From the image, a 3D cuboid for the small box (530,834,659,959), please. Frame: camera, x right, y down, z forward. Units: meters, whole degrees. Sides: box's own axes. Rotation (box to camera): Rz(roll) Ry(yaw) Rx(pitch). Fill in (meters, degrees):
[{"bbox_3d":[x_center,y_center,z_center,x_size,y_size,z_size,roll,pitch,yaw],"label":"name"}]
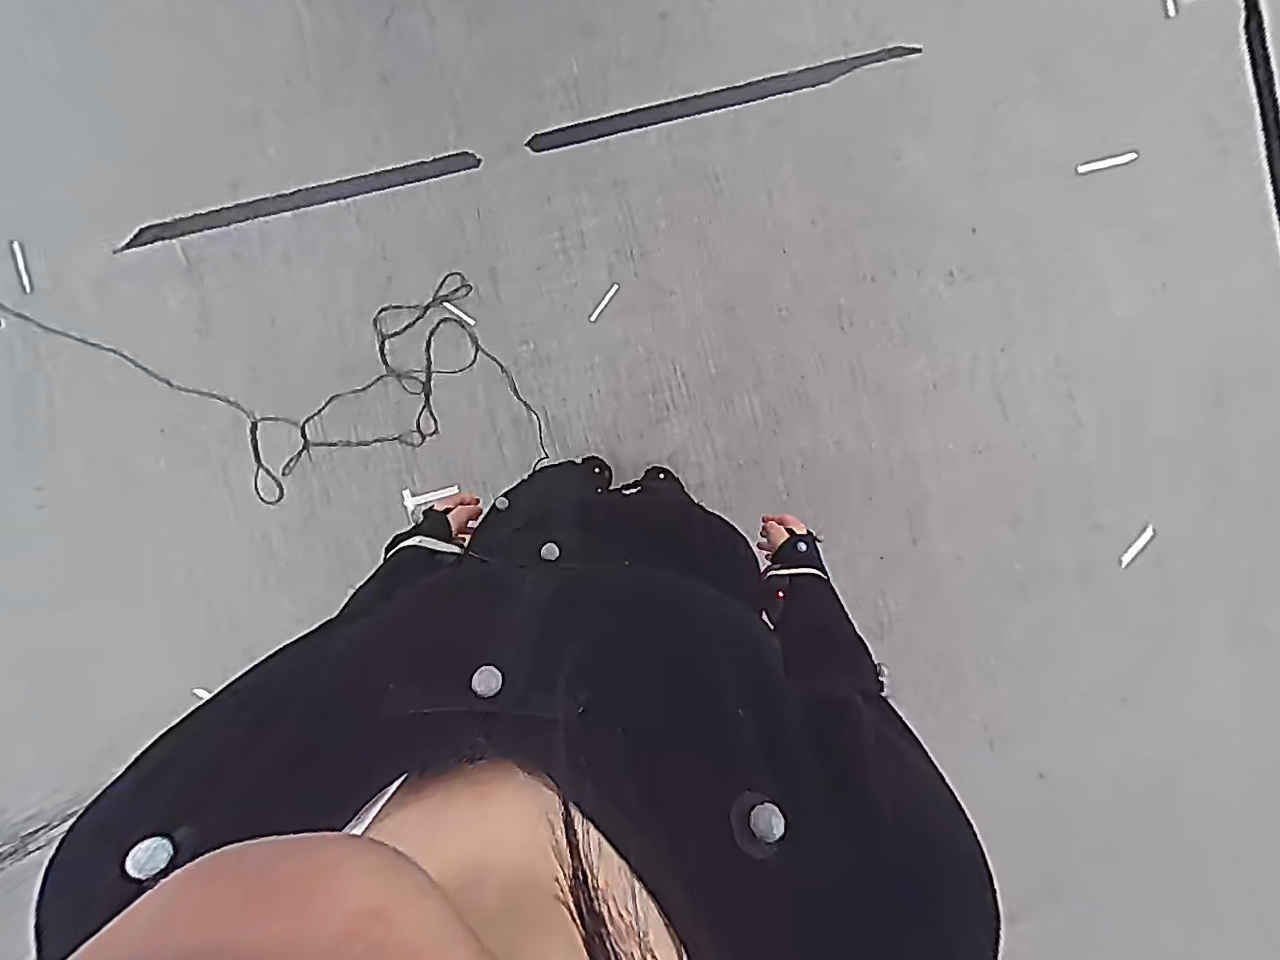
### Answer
[{"bbox_3d":[-0.065,0.701,0.861,0.168,0.176,0.179,-11,93,2],"label":"small box"}]
